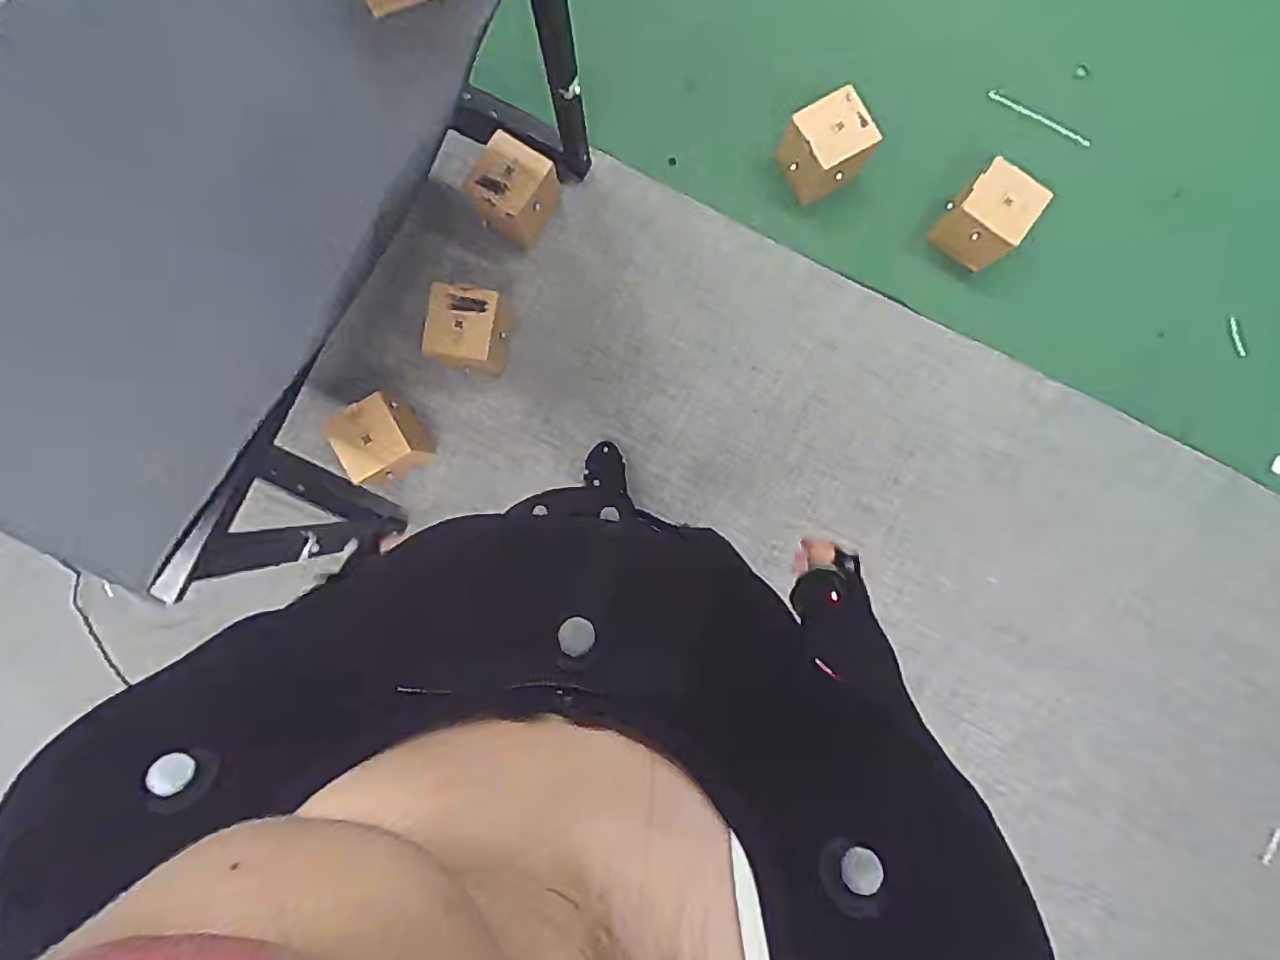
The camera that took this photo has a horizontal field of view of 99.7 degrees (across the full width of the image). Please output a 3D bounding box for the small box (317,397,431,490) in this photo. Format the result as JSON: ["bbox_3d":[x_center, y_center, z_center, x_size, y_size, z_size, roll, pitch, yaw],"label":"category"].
[{"bbox_3d":[-0.671,-0.088,1.390,0.168,0.176,0.179,-31,88,-1],"label":"small box"}]

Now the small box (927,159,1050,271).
[{"bbox_3d":[0.907,-0.688,1.428,0.179,0.176,0.168,35,89,-1],"label":"small box"}]

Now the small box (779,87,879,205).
[{"bbox_3d":[0.484,-0.869,1.427,0.179,0.176,0.168,-29,88,-1],"label":"small box"}]

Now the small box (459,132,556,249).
[{"bbox_3d":[-0.335,-0.743,1.410,0.168,0.176,0.179,32,87,0],"label":"small box"}]
